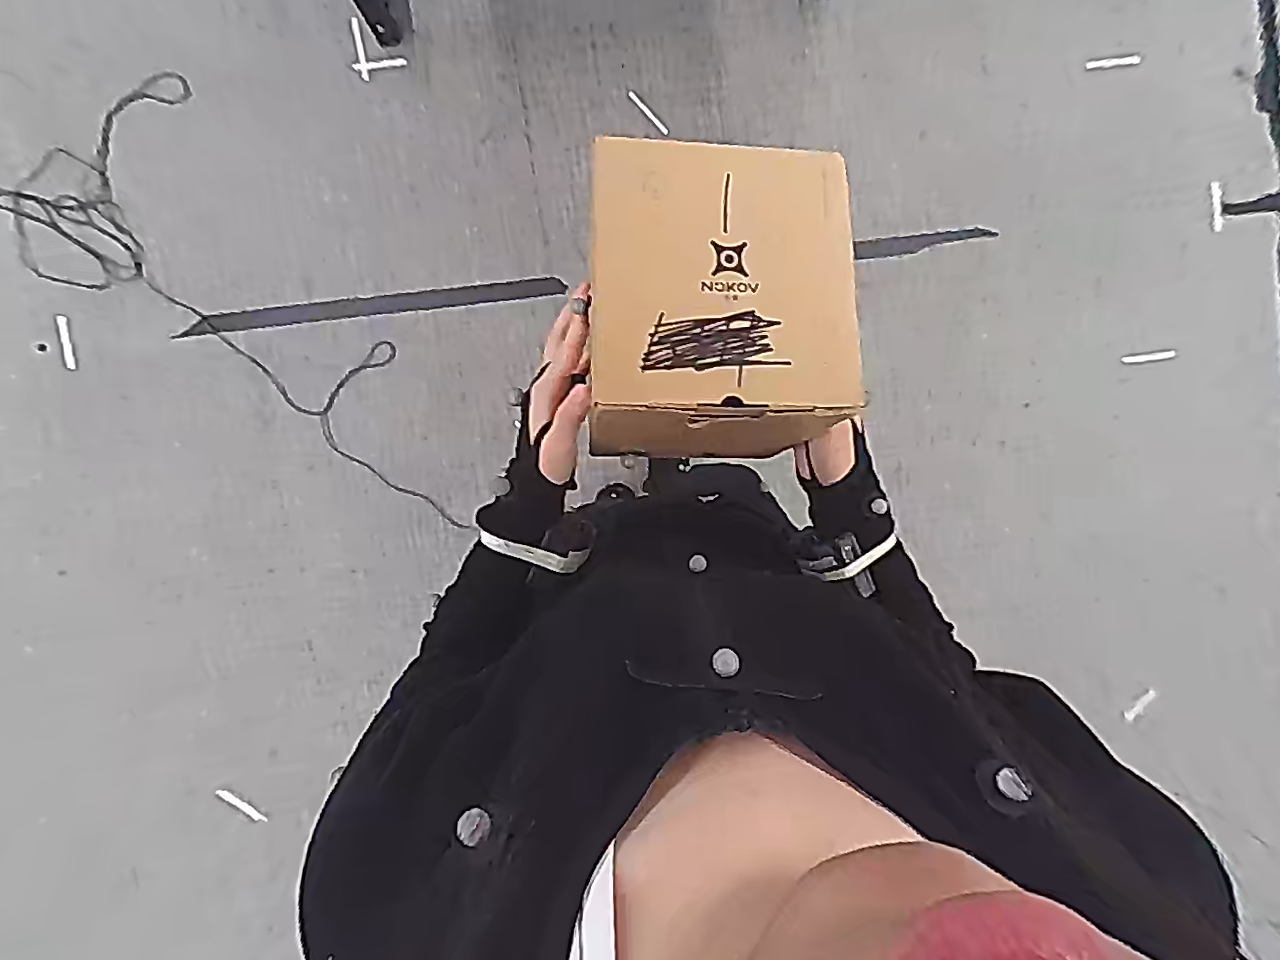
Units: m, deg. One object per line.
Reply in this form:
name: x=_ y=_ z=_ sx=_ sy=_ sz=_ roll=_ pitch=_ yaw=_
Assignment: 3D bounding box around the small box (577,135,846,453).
small box: x=0.037 y=-0.119 z=0.415 sx=0.168 sy=0.176 sz=0.179 roll=0 pitch=81 yaw=-8
